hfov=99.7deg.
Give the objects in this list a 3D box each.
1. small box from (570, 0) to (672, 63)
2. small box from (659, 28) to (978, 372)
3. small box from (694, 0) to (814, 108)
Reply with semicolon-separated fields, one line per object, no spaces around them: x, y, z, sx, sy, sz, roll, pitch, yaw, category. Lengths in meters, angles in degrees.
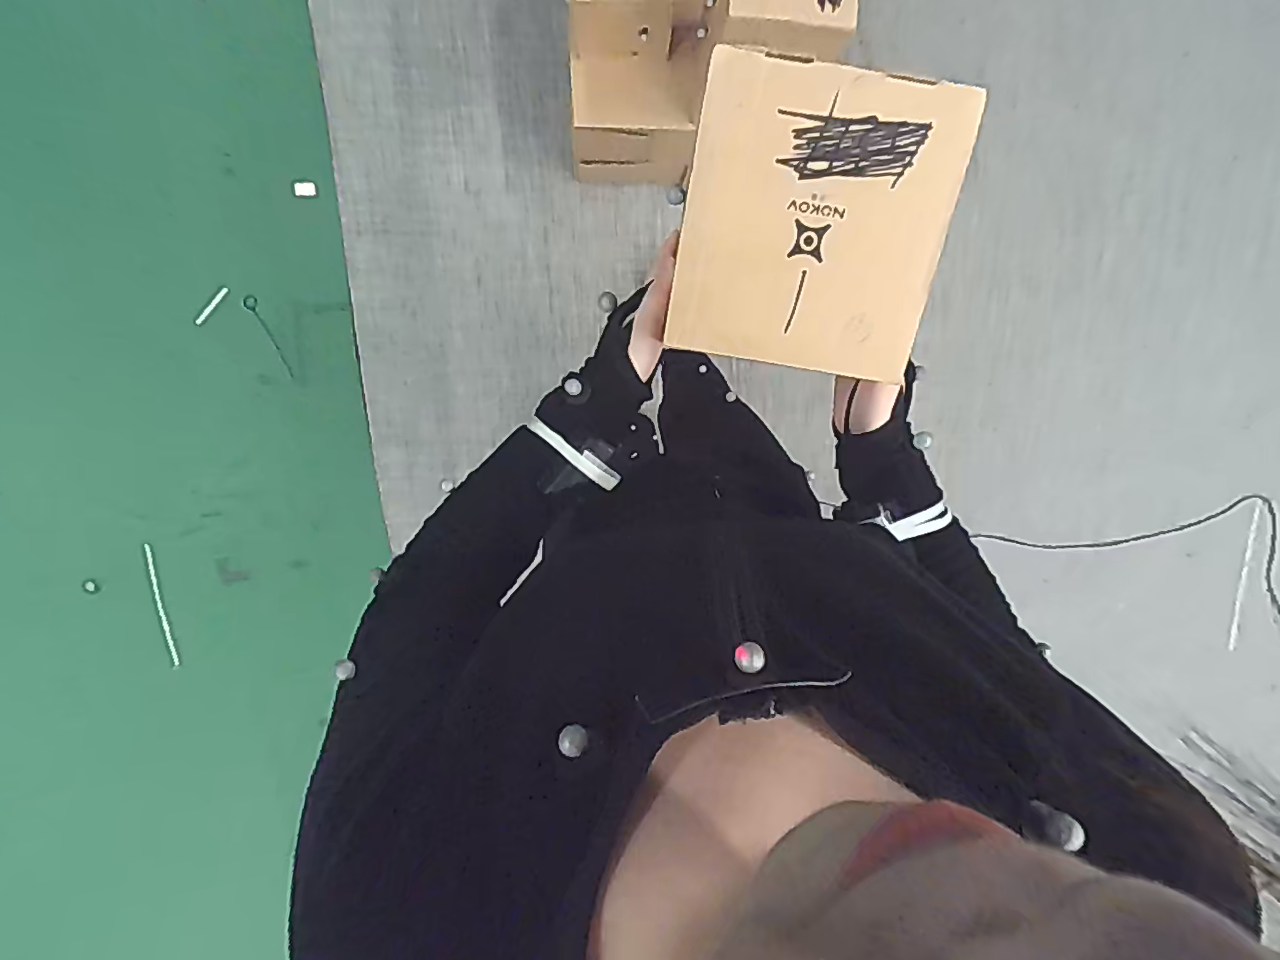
-0.028;-0.845;0.911;0.168;0.176;0.179;0;99;-2;small box
0.108;-0.190;0.414;0.168;0.176;0.179;9;107;0;small box
0.189;-0.737;0.938;0.168;0.176;0.179;2;99;-3;small box
